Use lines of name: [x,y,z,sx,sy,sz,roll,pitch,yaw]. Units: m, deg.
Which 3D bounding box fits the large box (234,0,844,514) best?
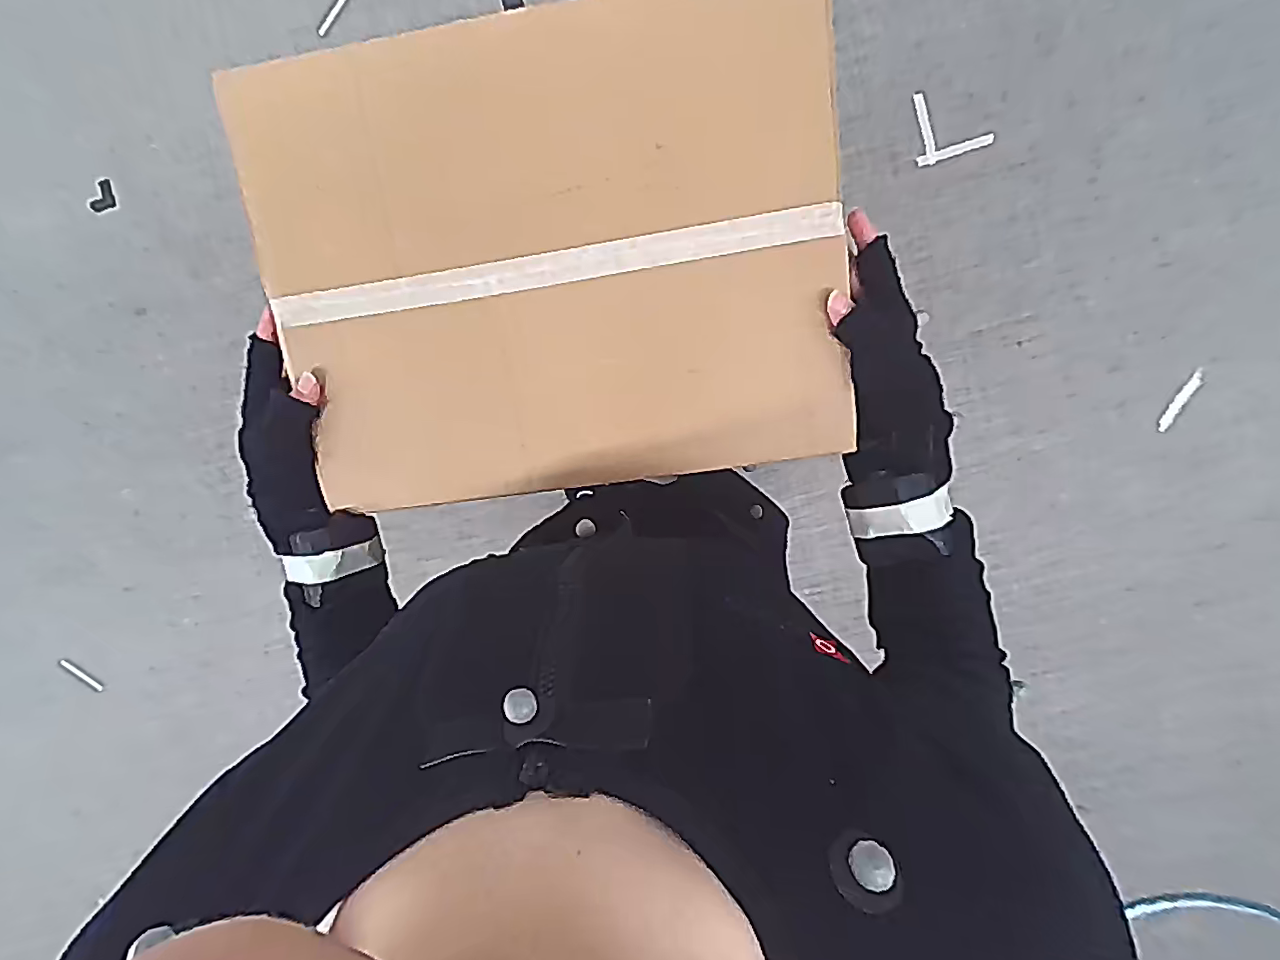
large box: [-0.055,-0.180,0.531,0.408,0.320,0.320,-7,102,5]
